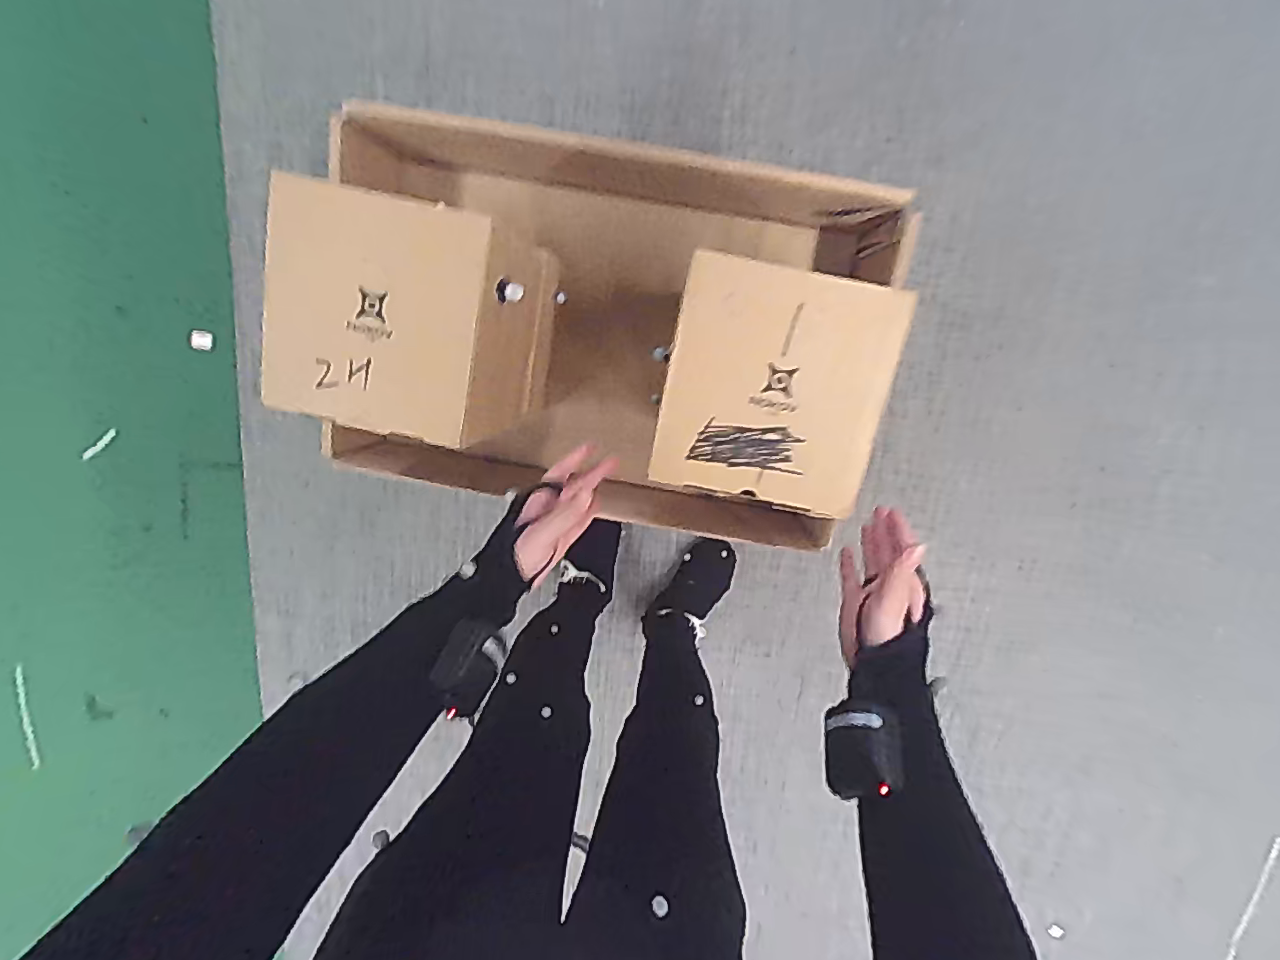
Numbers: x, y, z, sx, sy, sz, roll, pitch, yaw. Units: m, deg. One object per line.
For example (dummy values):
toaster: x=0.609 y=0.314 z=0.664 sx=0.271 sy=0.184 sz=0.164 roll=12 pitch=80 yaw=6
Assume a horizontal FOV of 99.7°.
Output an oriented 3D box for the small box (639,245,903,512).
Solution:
small box: x=0.099 y=-0.091 z=0.485 sx=0.168 sy=0.176 sz=0.179 roll=11 pitch=104 yaw=0

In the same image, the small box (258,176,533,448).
small box: x=-0.203 y=-0.142 z=0.491 sx=0.168 sy=0.176 sz=0.179 roll=12 pitch=104 yaw=1
